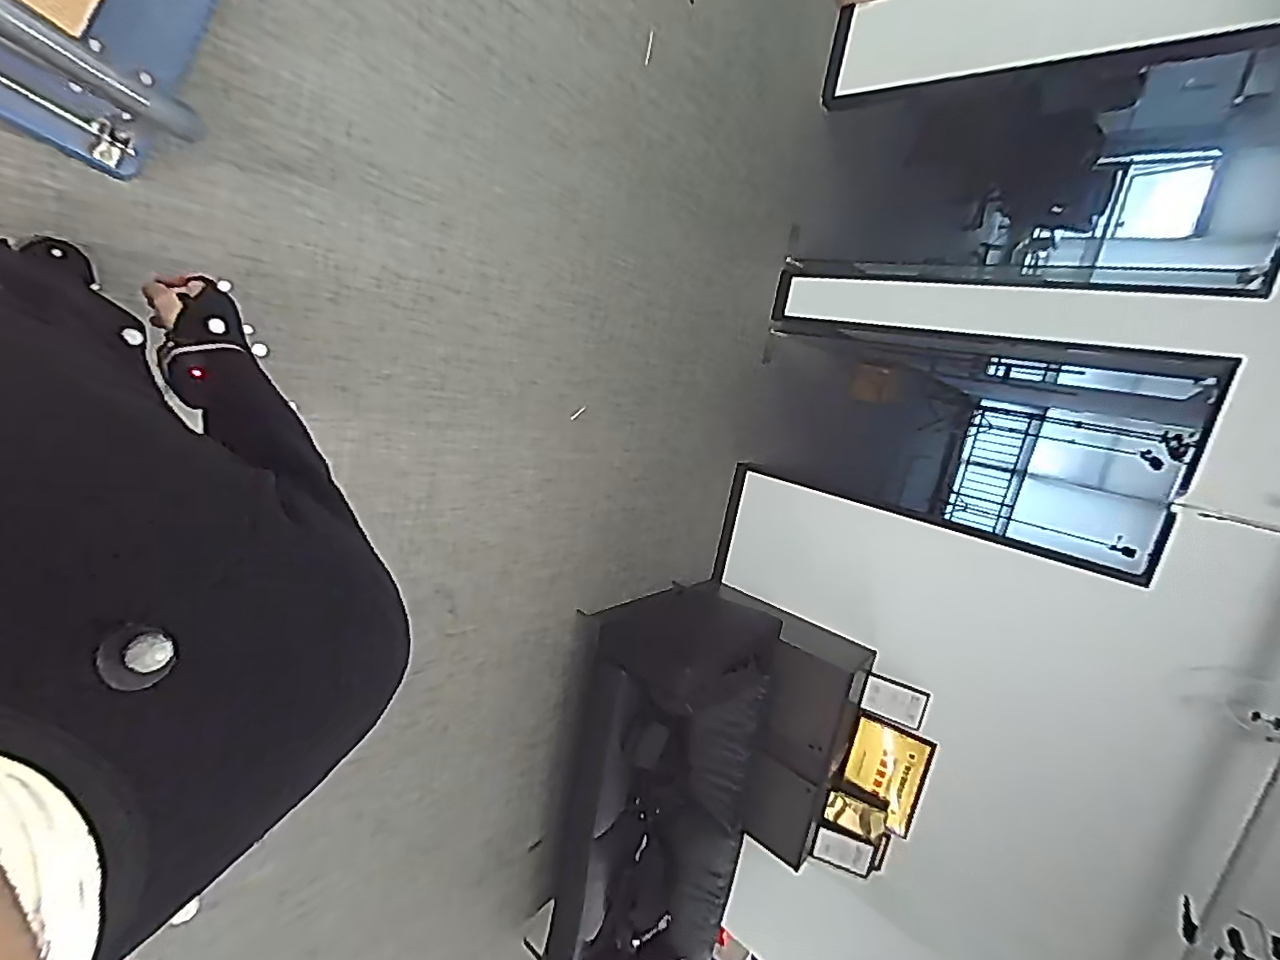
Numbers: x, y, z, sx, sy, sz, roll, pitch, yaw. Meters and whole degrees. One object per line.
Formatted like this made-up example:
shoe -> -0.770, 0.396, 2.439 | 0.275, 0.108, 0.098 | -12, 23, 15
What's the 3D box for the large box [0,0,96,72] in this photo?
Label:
large box -> -0.905, -0.875, 0.721 | 0.320, 0.320, 0.408 | 25, 85, -53
